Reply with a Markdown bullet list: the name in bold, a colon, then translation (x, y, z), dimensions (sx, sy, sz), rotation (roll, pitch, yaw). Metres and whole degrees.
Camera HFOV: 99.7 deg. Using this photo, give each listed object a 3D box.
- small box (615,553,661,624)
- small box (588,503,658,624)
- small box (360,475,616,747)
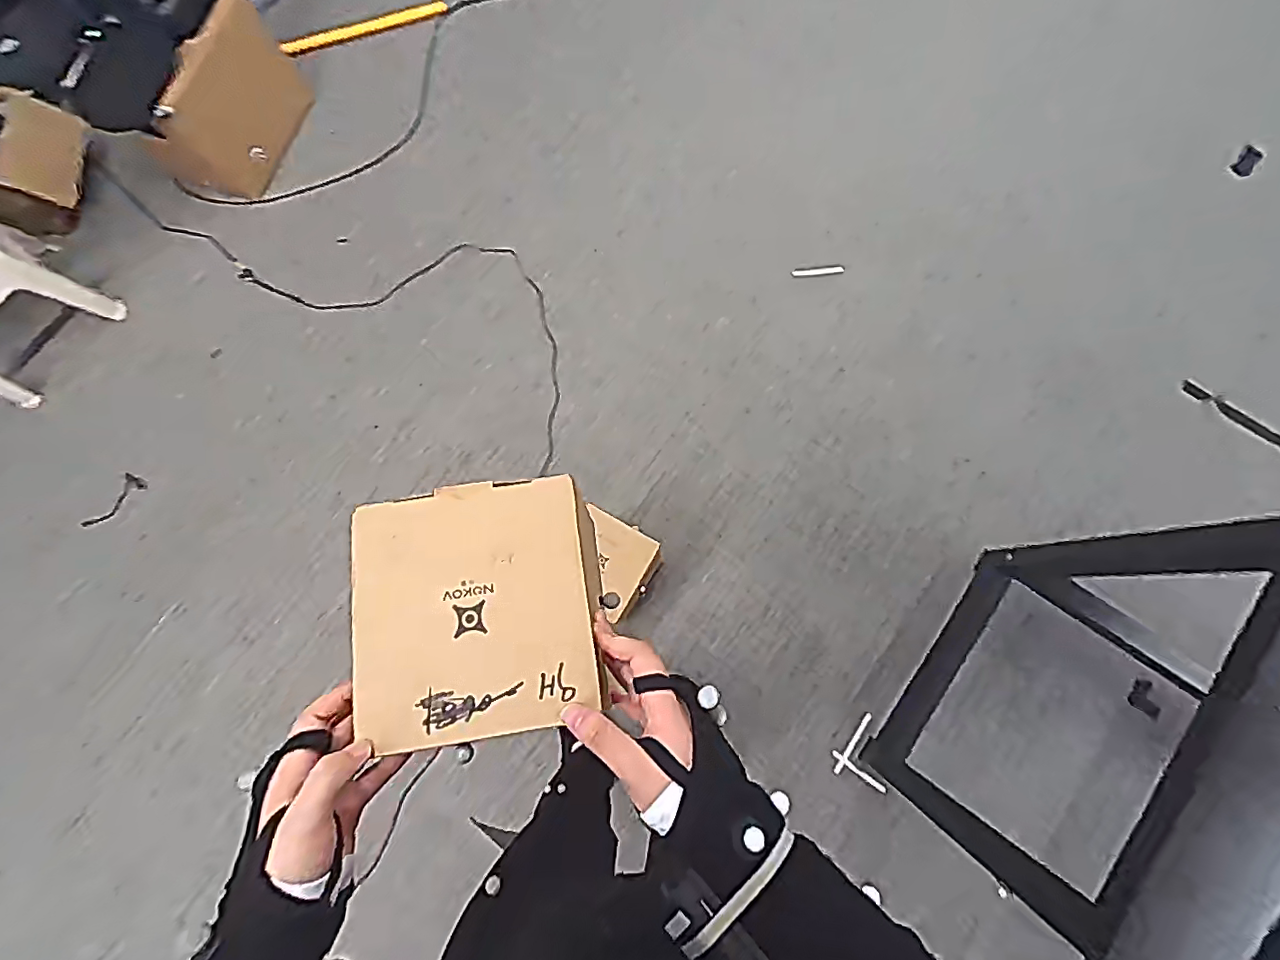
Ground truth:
- **small box**: translation (-0.065, 0.212, 1.261), dimensions (0.168, 0.176, 0.179), rotation (31, 83, 9)
- **small box**: translation (-0.072, 0.173, 1.103), dimensions (0.168, 0.176, 0.179), rotation (28, 80, 7)
- **small box**: translation (-0.114, 0.113, 0.462), dimensions (0.168, 0.176, 0.179), rotation (-8, 71, -2)
